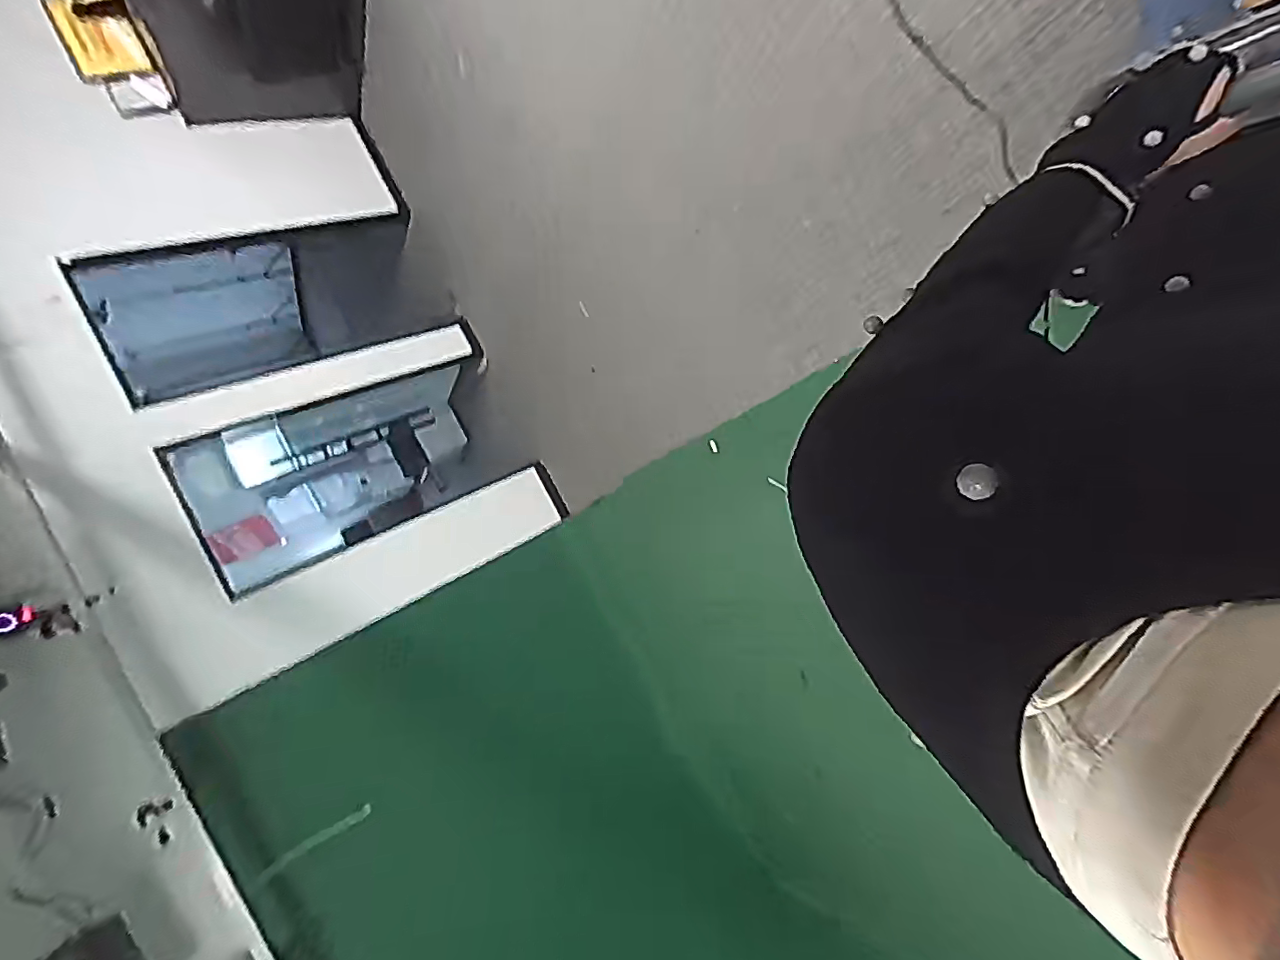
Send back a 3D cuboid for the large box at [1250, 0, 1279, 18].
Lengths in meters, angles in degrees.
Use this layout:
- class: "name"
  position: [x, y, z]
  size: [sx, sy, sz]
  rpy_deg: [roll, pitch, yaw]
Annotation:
- class: "large box"
  position: [0.887, -0.812, 0.571]
  size: [0.320, 0.320, 0.408]
  rpy_deg: [0, 115, 55]
